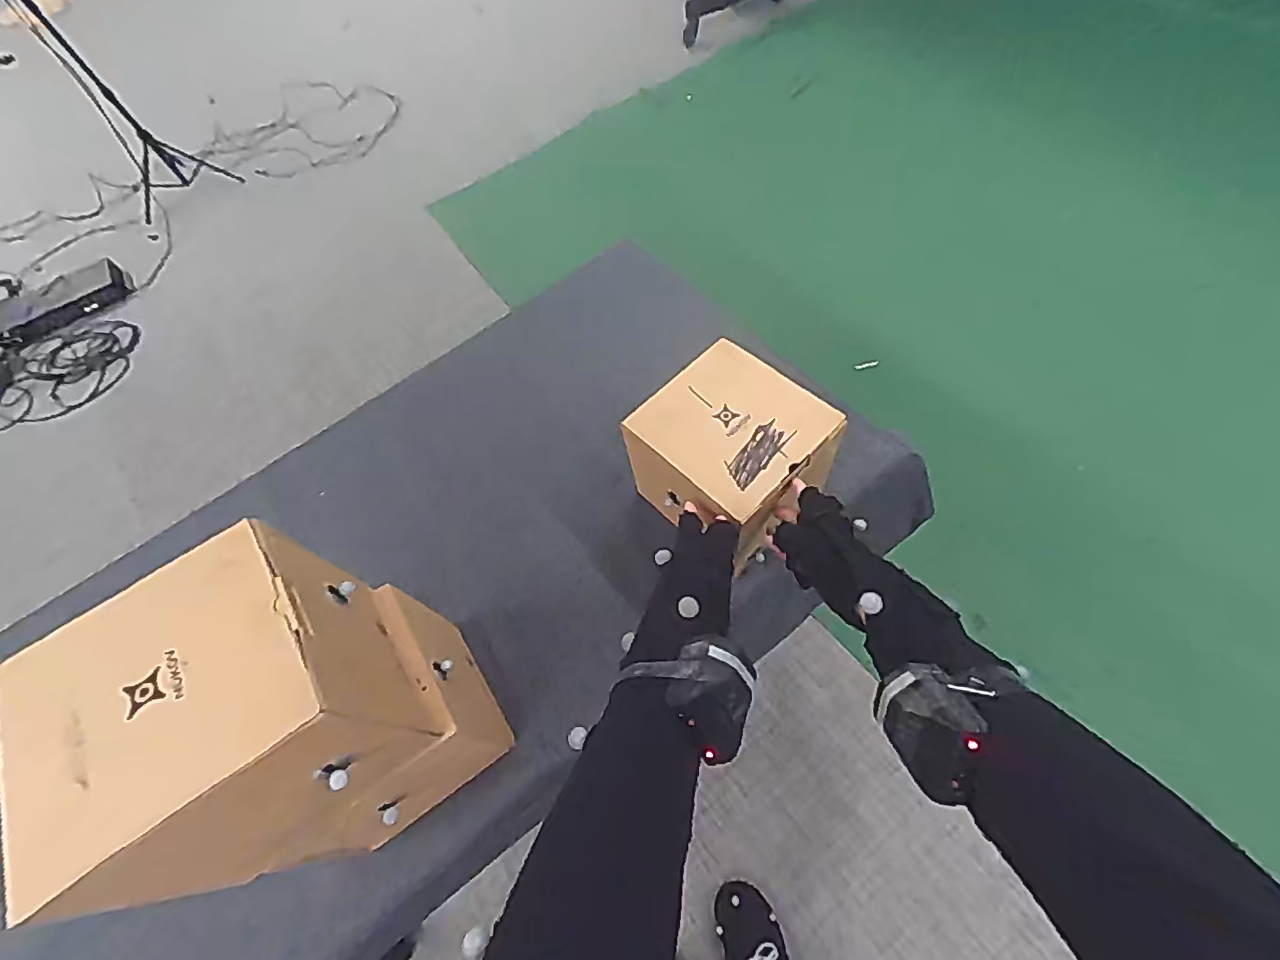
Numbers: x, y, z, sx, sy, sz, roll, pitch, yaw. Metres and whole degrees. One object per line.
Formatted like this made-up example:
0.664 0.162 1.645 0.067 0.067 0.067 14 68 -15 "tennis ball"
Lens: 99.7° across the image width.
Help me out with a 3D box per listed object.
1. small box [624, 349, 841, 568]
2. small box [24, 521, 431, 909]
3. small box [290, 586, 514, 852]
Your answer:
0.107 -0.015 0.653 0.168 0.176 0.179 -41 63 -15 "small box"
-0.286 0.169 0.411 0.179 0.176 0.168 -35 61 -12 "small box"
-0.259 0.244 0.553 0.179 0.176 0.168 -33 62 -11 "small box"
